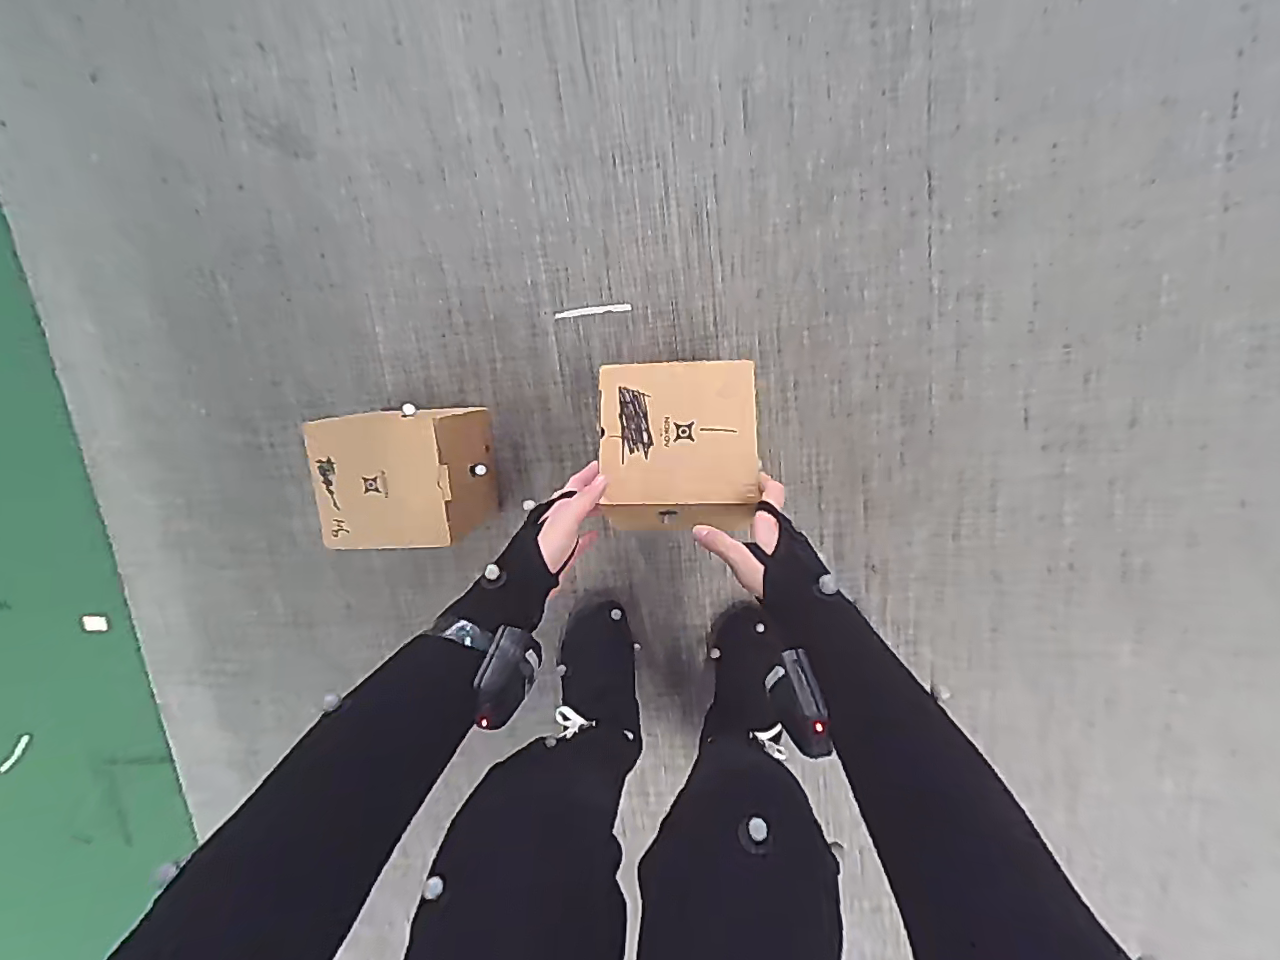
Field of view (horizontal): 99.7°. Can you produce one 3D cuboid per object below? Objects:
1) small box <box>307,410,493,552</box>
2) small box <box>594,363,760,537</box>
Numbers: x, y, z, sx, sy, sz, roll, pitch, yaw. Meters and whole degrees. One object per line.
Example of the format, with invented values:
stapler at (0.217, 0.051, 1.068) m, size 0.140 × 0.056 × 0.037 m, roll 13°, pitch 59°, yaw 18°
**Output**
small box at (-0.315, -0.006, 0.751) m, size 0.179 × 0.176 × 0.168 m, roll -2°, pitch 101°, yaw 6°
small box at (0.046, -0.026, 0.659) m, size 0.179 × 0.176 × 0.168 m, roll -1°, pitch 72°, yaw 4°
